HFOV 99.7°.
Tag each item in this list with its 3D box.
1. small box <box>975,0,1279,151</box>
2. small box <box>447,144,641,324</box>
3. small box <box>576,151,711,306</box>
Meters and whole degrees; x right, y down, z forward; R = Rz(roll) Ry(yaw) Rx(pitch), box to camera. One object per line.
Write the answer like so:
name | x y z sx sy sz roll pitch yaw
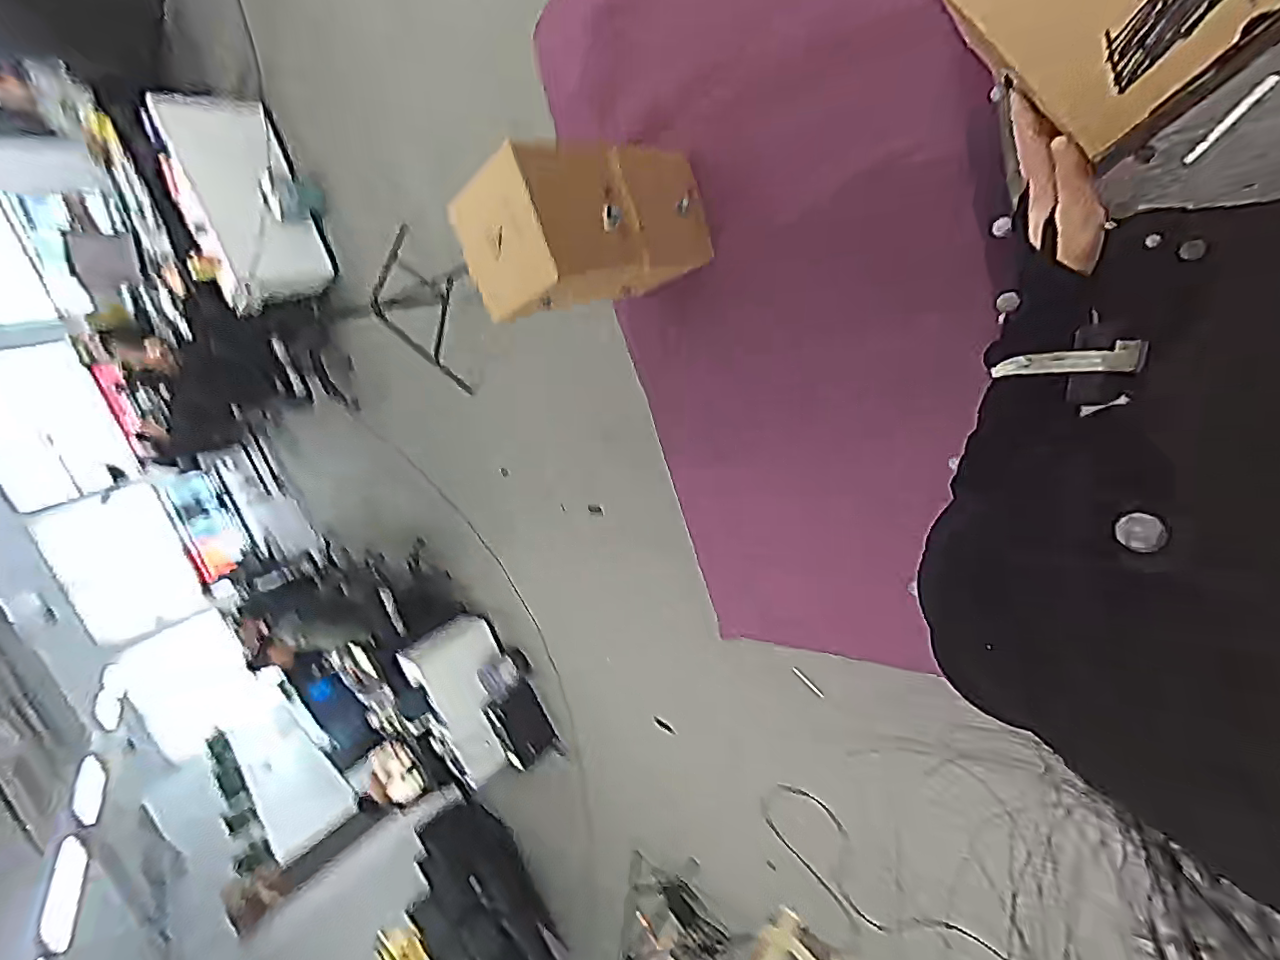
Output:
small box | 0.346 -0.348 0.354 0.168 0.176 0.179 -39 82 43
small box | -0.130 -0.336 0.754 0.179 0.176 0.168 -10 106 47
small box | -0.018 -0.392 0.857 0.179 0.176 0.168 -7 108 46
